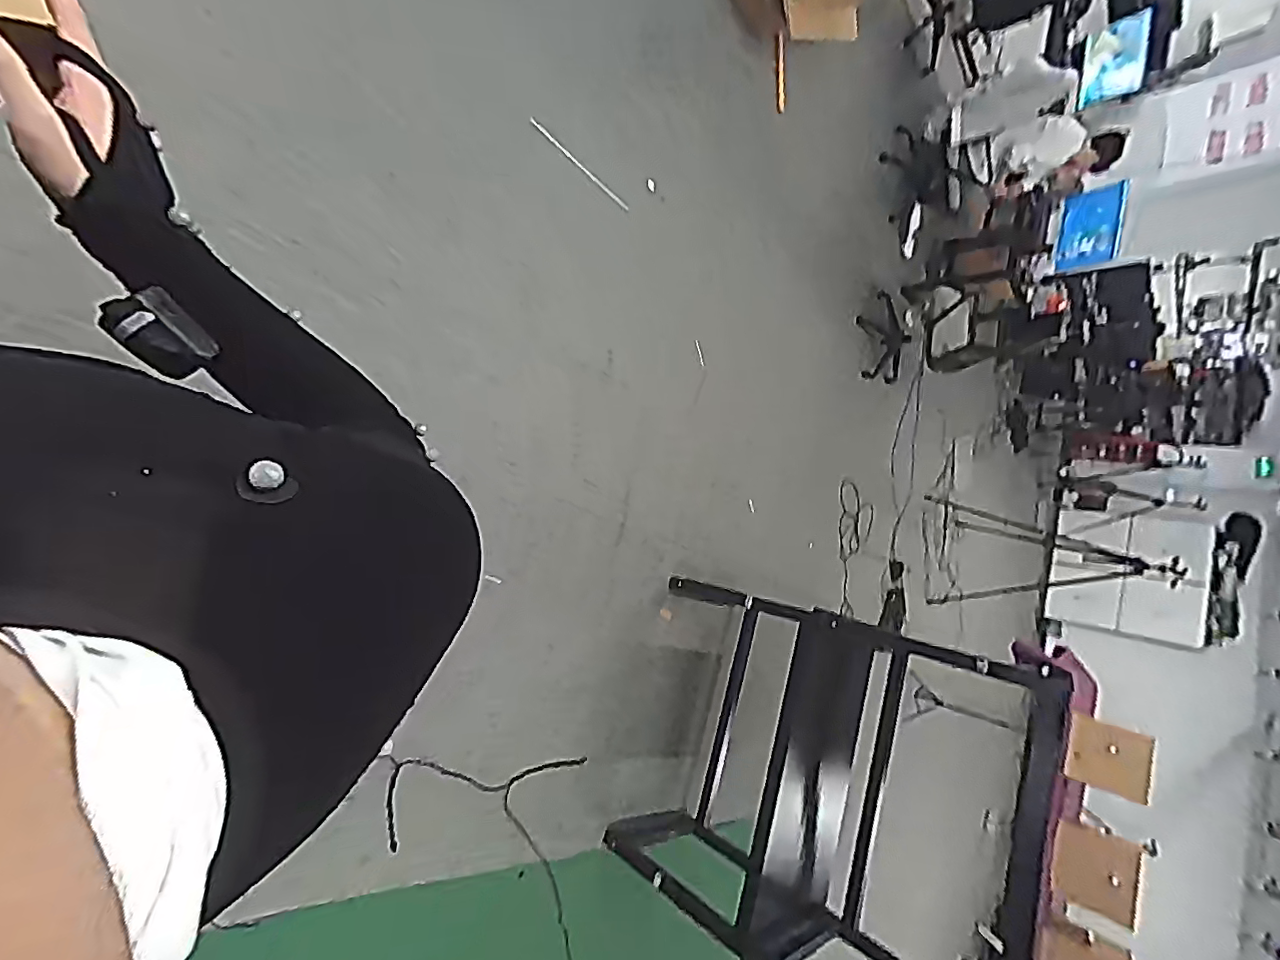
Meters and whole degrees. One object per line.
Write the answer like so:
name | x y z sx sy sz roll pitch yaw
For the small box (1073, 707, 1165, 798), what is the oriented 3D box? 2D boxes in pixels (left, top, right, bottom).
small box | 1.264 0.715 1.429 0.179 0.176 0.168 29 74 -43

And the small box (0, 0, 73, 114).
small box | -0.486 -0.344 0.318 0.179 0.176 0.168 -21 113 -40
